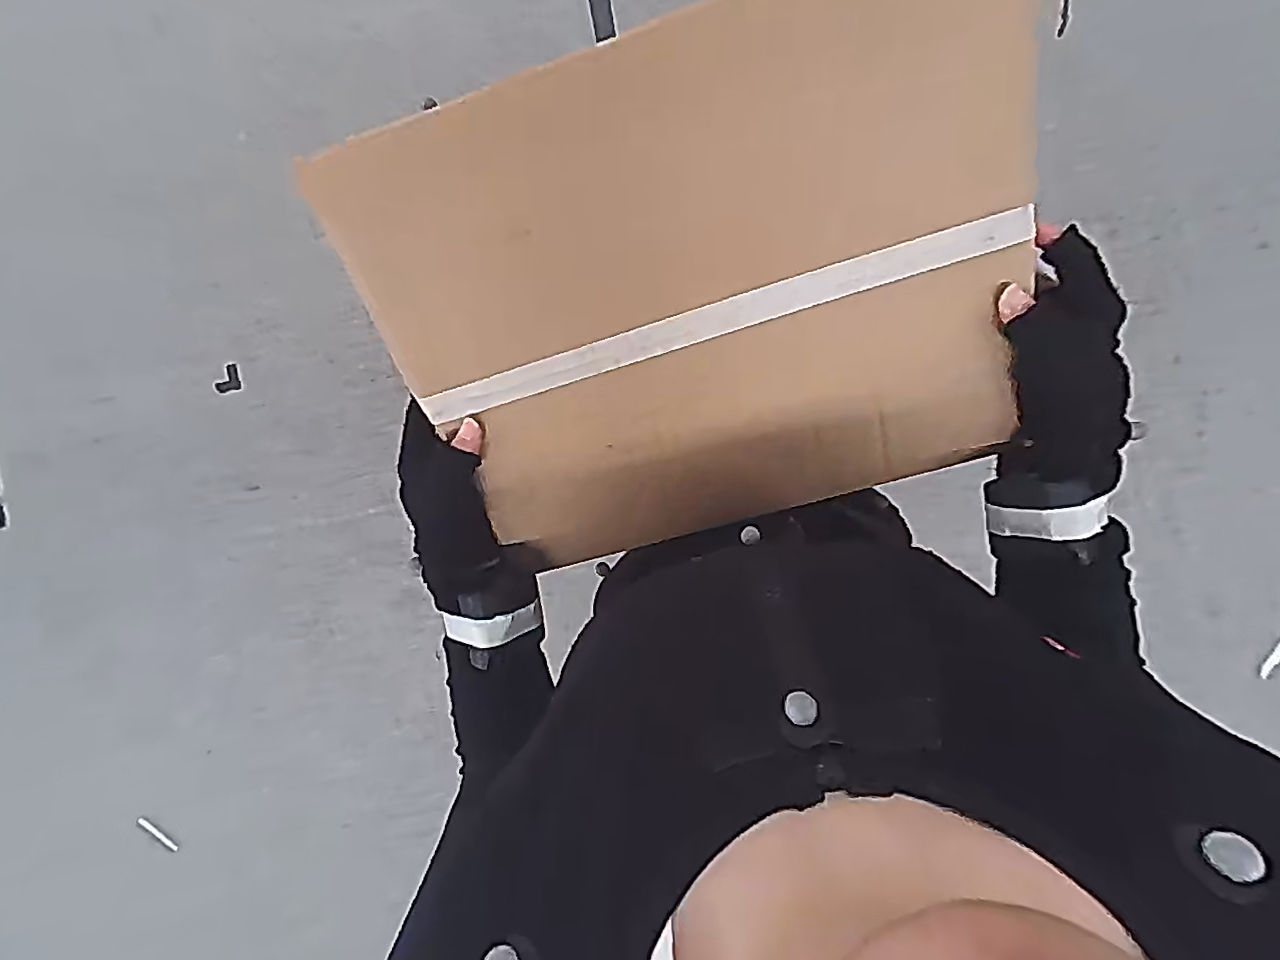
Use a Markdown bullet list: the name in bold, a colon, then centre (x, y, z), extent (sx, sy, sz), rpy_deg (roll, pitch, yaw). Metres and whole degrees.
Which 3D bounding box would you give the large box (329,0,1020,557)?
- **large box**: centre (0.040, -0.185, 0.494), extent (0.408, 0.320, 0.320), rpy_deg (-16, 119, 7)
